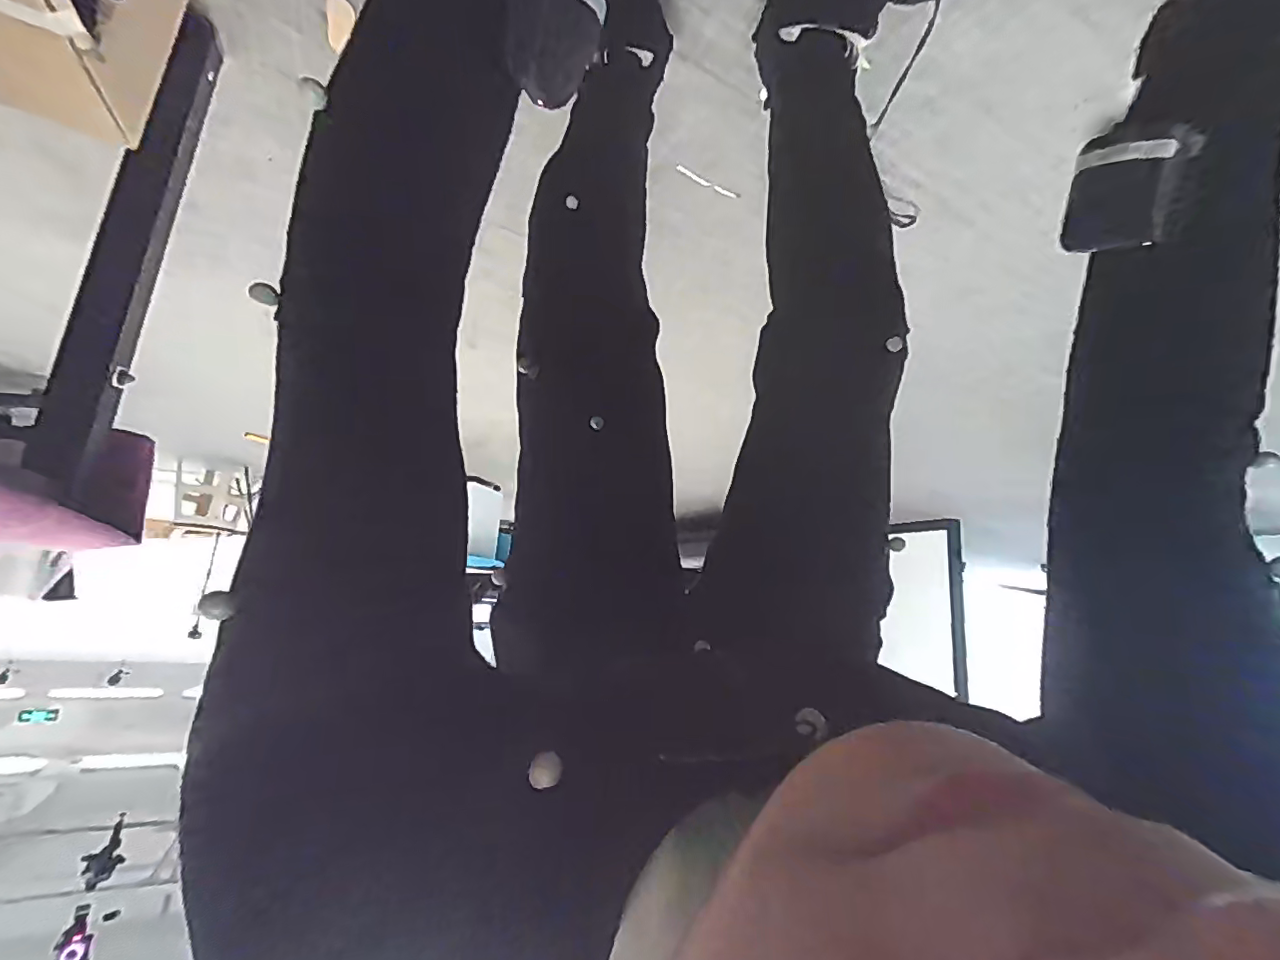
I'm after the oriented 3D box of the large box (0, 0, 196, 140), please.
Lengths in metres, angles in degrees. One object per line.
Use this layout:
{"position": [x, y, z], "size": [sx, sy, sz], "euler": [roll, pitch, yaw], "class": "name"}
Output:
{"position": [-0.643, -0.575, 0.414], "size": [0.408, 0.320, 0.320], "euler": [12, 164, -24], "class": "large box"}
